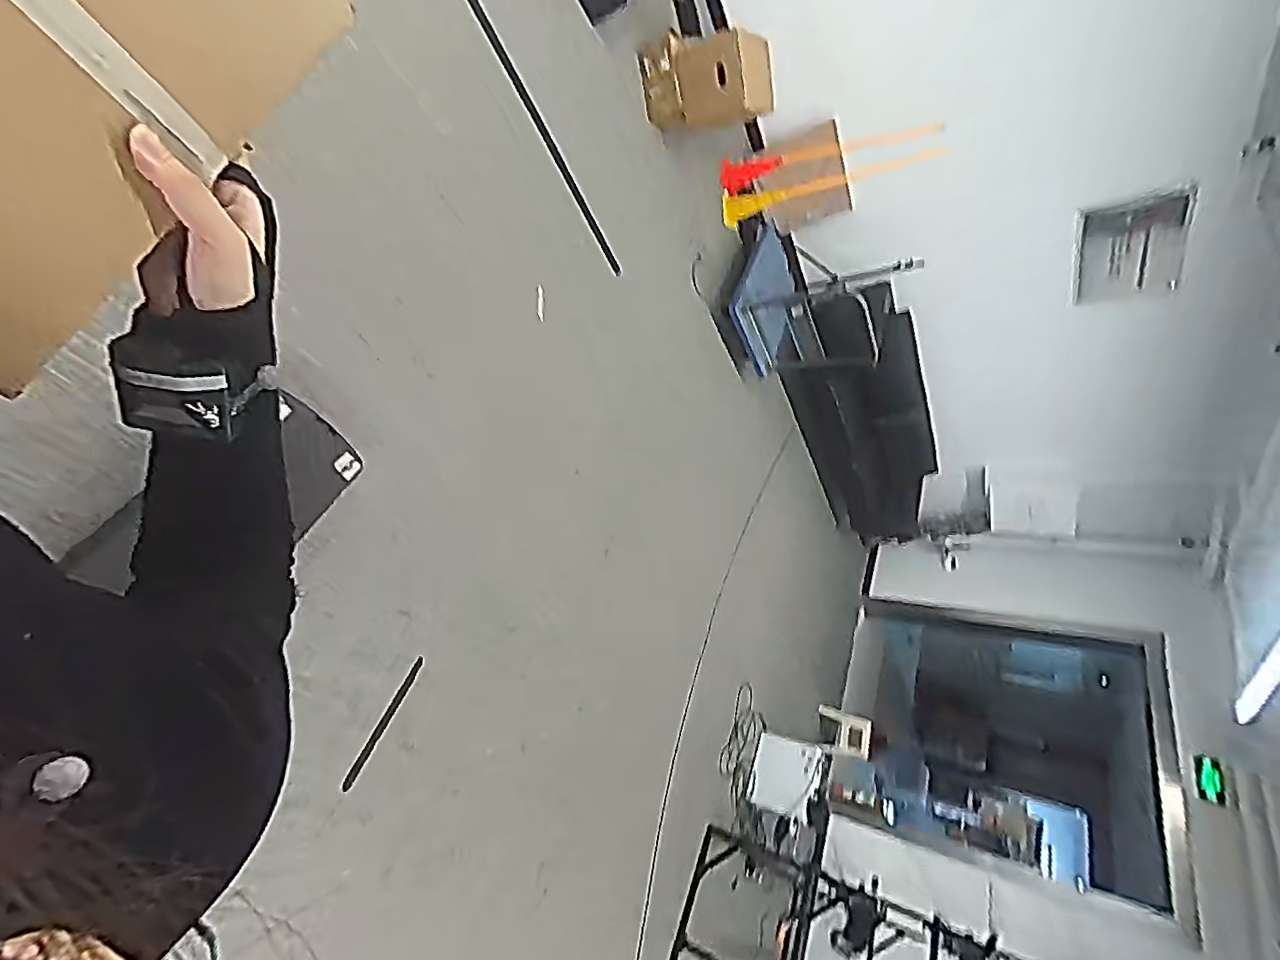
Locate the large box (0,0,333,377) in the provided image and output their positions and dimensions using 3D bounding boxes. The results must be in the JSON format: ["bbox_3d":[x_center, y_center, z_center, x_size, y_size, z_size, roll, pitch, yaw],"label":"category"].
[{"bbox_3d":[-0.434,-0.292,0.194,0.320,0.320,0.408,-68,154,-17],"label":"large box"}]
